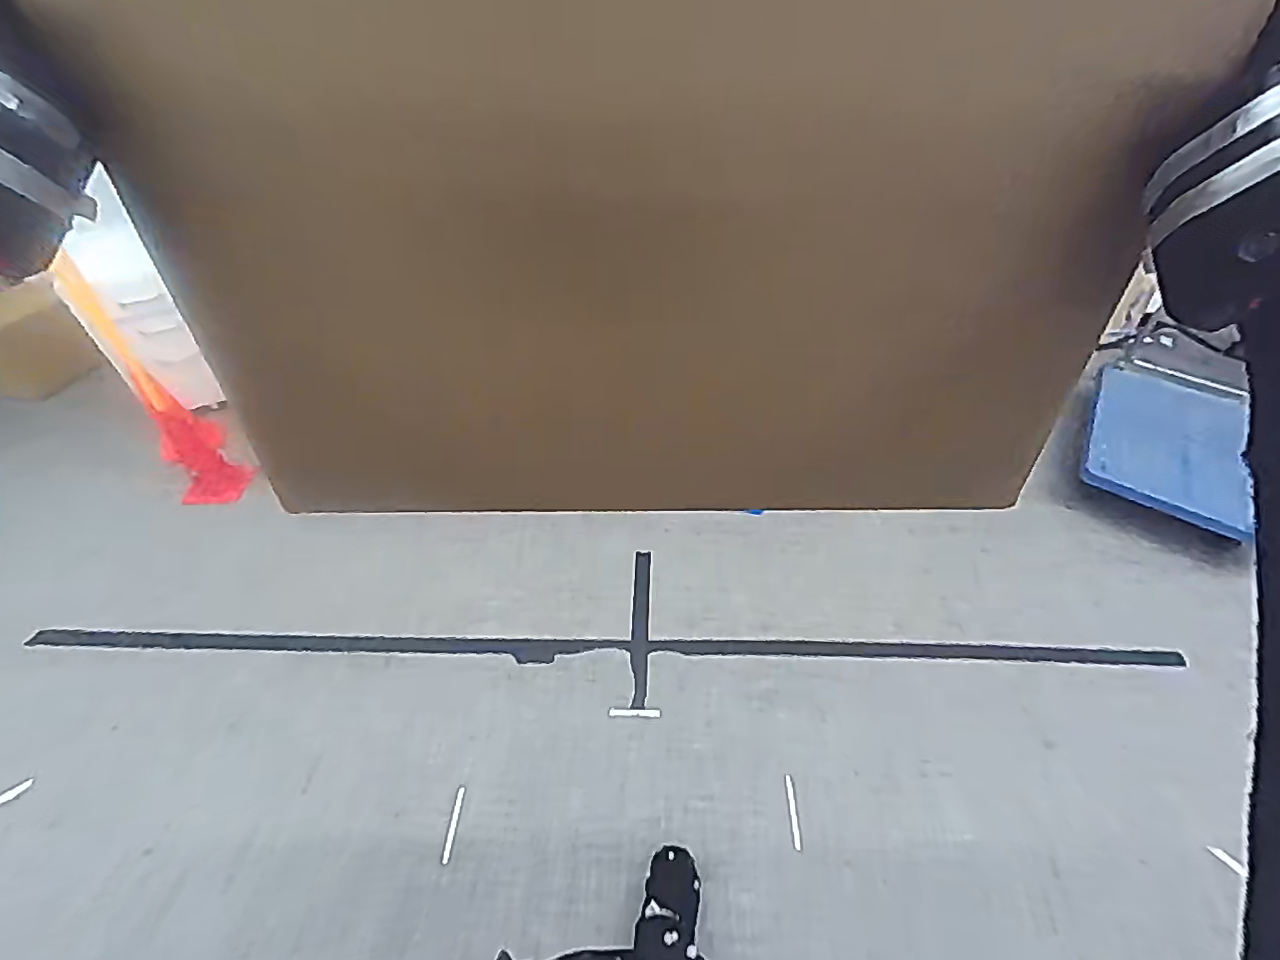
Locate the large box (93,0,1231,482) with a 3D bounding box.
[{"bbox_3d":[0.006,-0.206,0.336,0.408,0.320,0.320,0,37,0],"label":"large box"}]
